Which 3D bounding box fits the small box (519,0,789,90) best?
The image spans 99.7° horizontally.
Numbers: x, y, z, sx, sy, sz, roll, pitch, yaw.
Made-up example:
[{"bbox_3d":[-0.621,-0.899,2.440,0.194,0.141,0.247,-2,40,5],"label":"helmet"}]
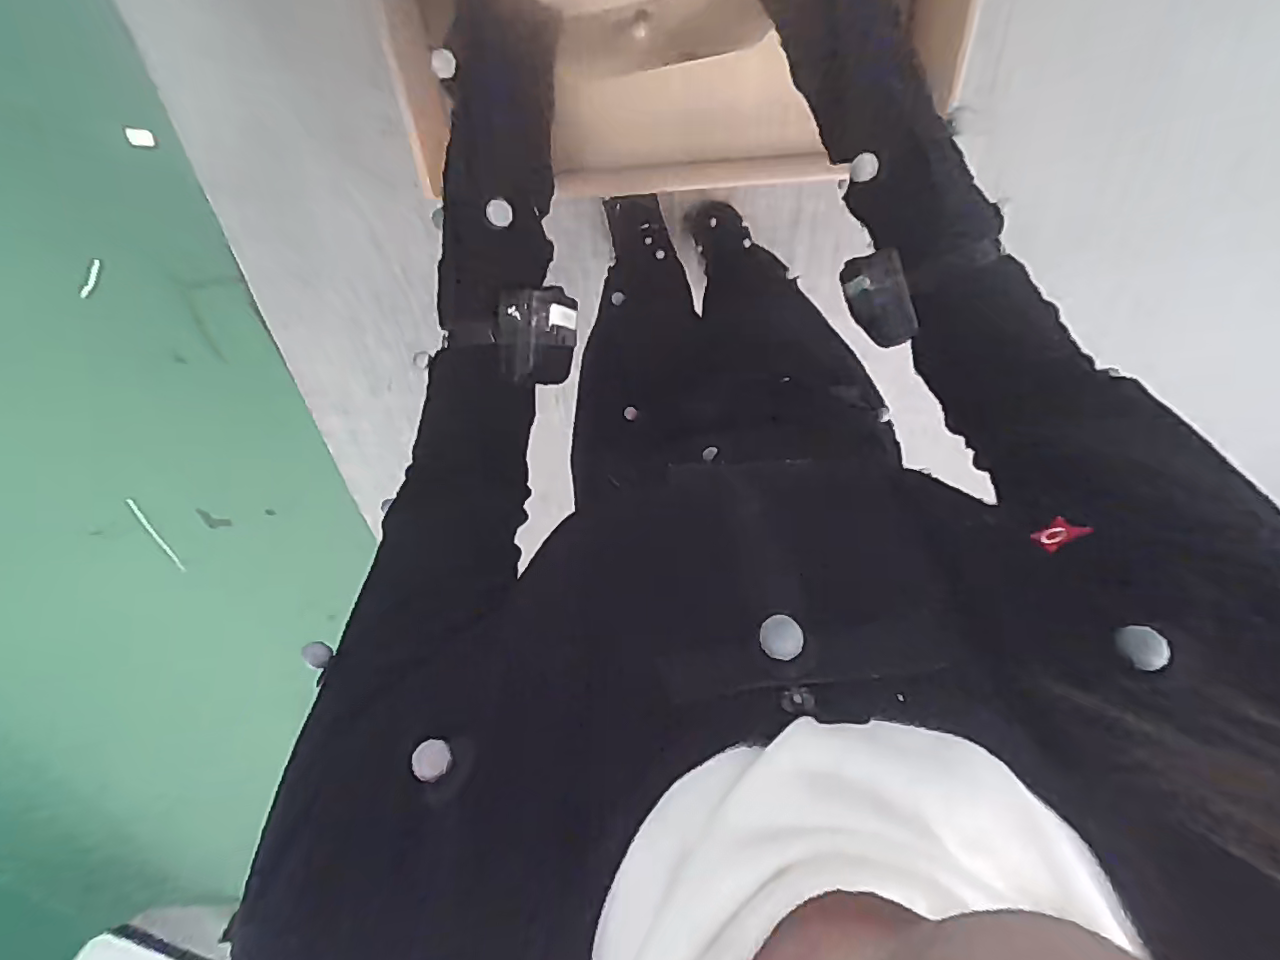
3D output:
[{"bbox_3d":[0.002,-0.380,0.338,0.168,0.176,0.179,-8,115,7],"label":"small box"}]
